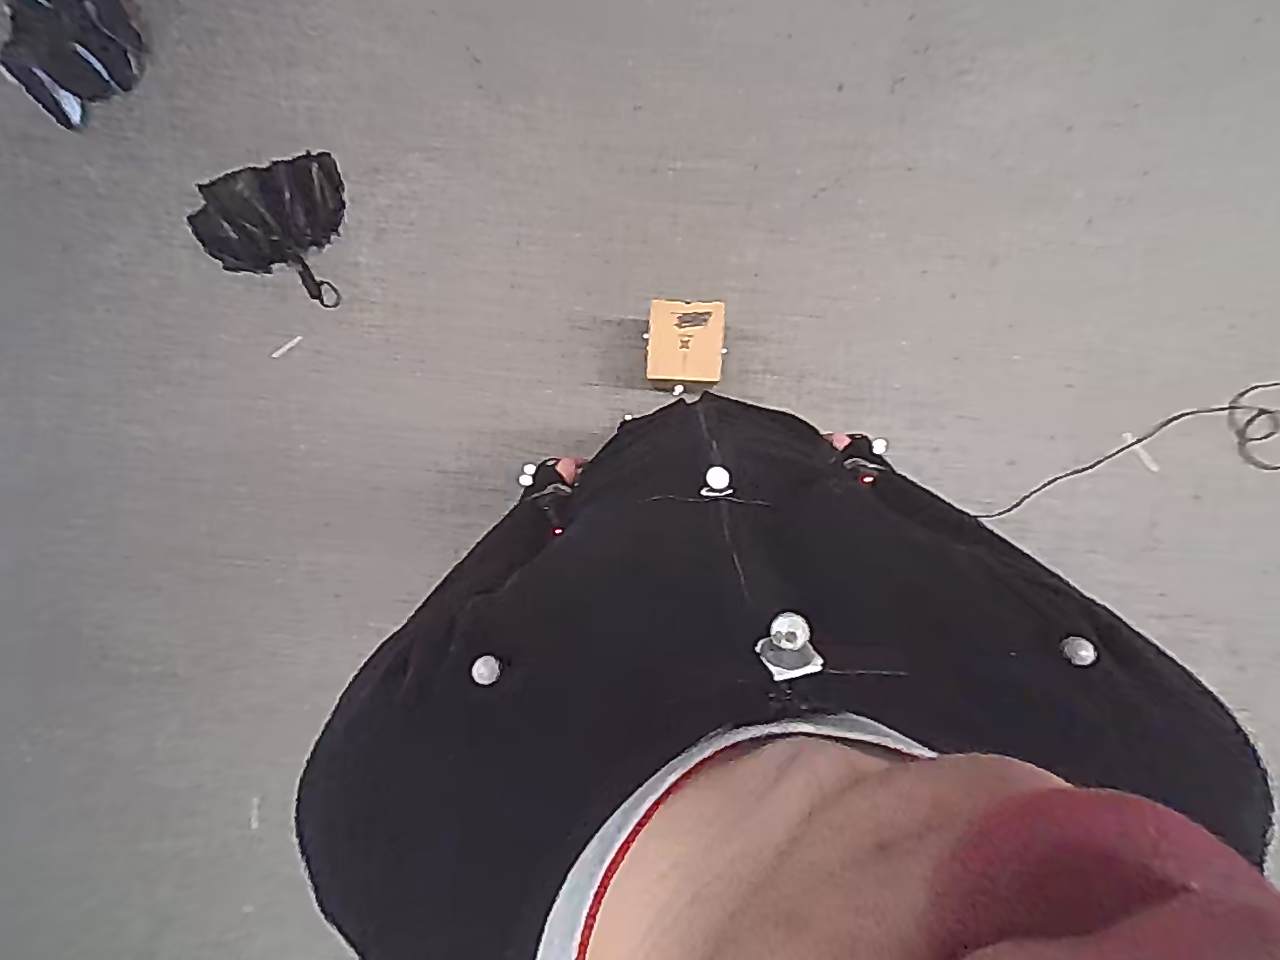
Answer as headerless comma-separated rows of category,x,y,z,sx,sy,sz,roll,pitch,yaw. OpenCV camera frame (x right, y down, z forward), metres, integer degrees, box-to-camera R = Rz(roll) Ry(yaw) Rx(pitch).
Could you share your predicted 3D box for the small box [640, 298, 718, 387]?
small box,0.087,-0.320,1.285,0.168,0.176,0.179,4,96,2
